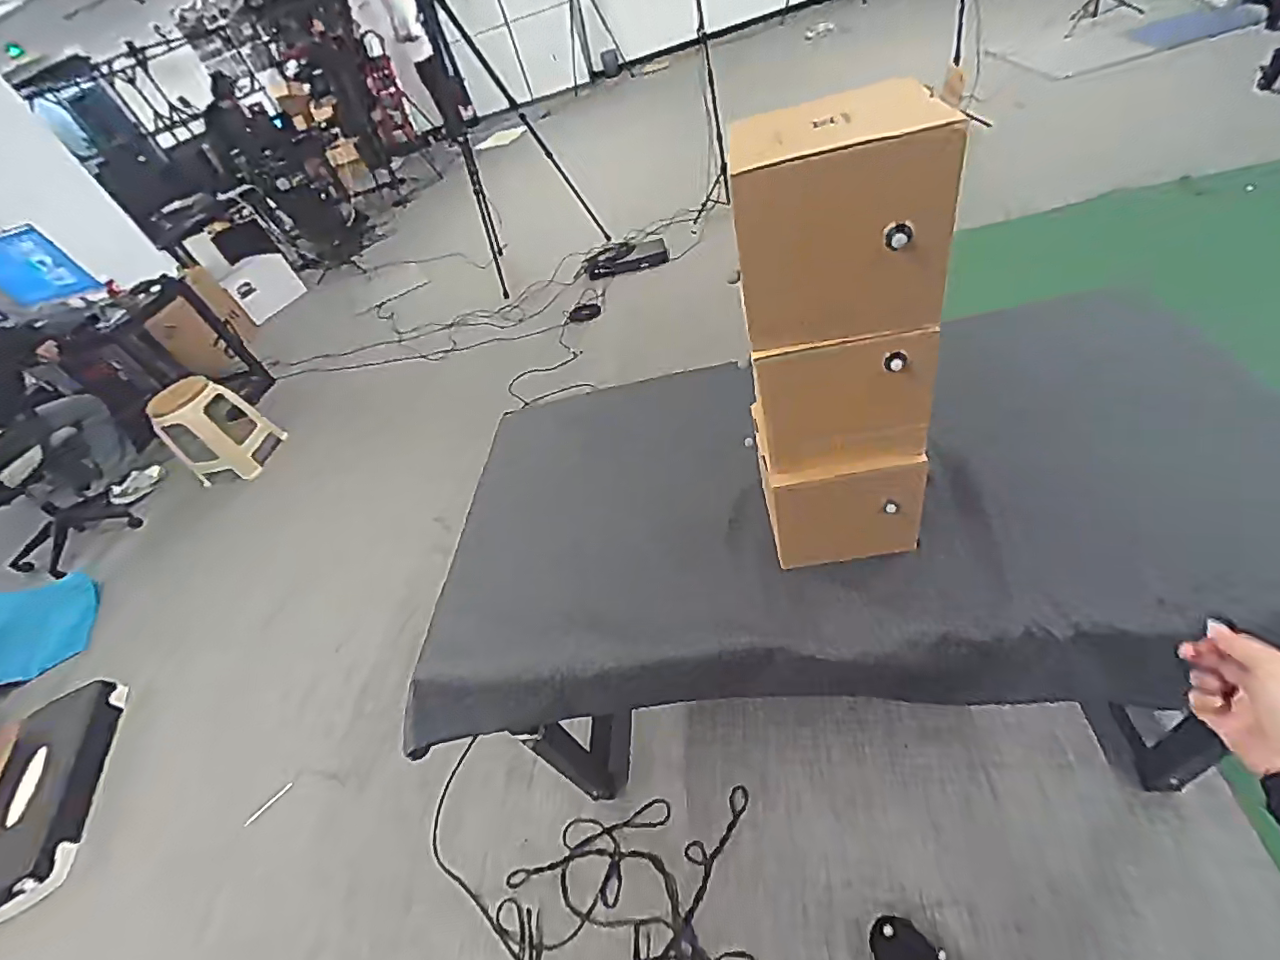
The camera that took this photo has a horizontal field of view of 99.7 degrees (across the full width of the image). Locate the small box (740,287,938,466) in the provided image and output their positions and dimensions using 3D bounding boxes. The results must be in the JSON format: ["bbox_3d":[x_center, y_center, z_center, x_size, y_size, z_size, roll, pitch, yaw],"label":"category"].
[{"bbox_3d":[0.219,-0.132,0.626,0.179,0.176,0.168,-8,44,12],"label":"small box"}]

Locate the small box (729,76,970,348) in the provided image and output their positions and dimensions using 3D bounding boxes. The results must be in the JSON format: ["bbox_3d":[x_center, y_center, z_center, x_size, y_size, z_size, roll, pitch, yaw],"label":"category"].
[{"bbox_3d":[0.183,-0.249,0.518,0.179,0.176,0.168,-7,43,15],"label":"small box"}]
